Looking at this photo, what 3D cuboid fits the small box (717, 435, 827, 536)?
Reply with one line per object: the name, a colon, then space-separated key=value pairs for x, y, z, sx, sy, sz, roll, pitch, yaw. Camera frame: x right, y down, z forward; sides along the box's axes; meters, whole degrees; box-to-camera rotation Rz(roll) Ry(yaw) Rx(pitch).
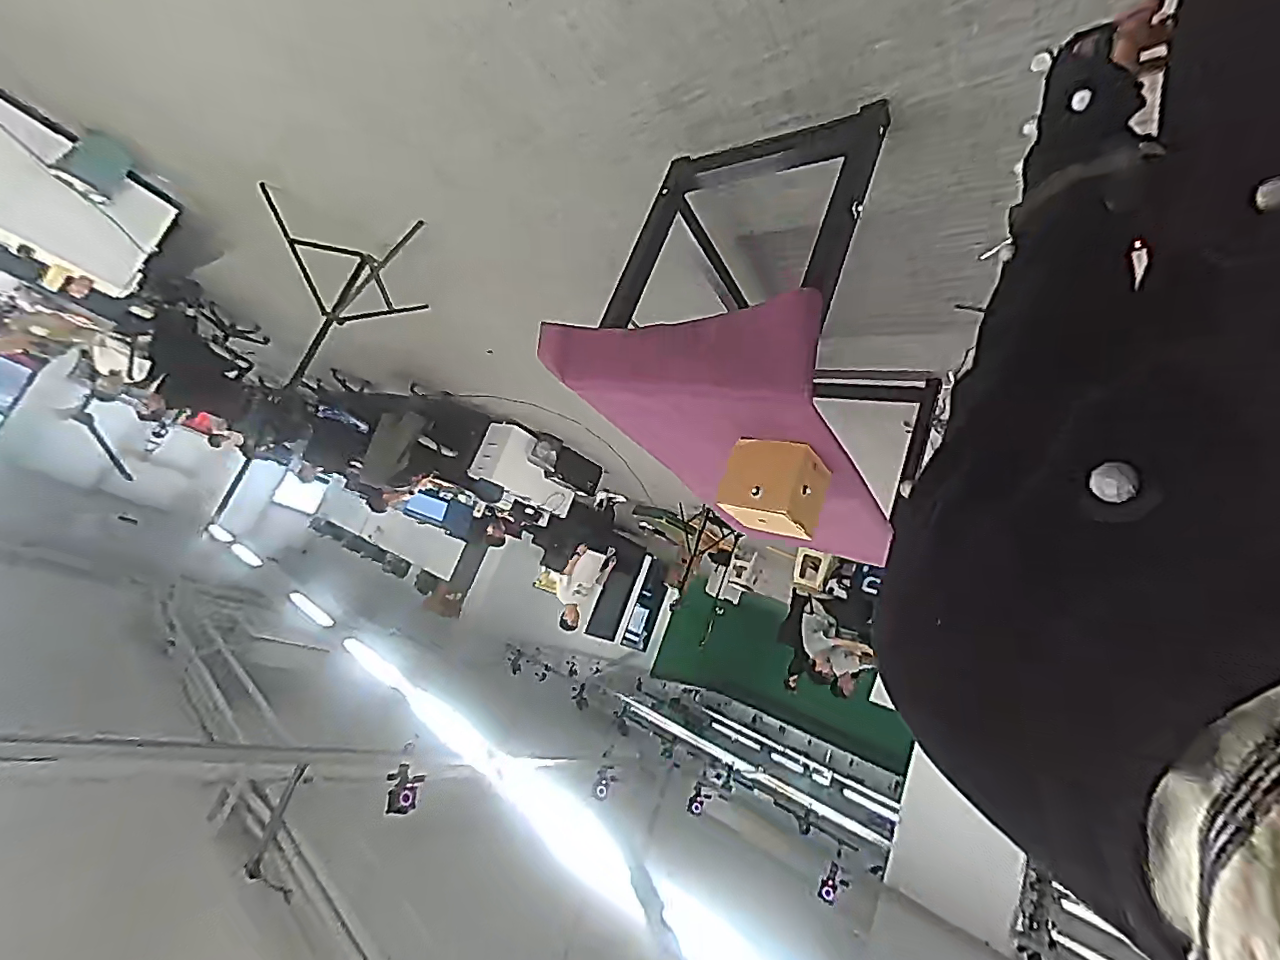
small box: x=0.307 y=0.010 z=1.221 sx=0.179 sy=0.176 sz=0.168 roll=11 pitch=164 yaw=41
